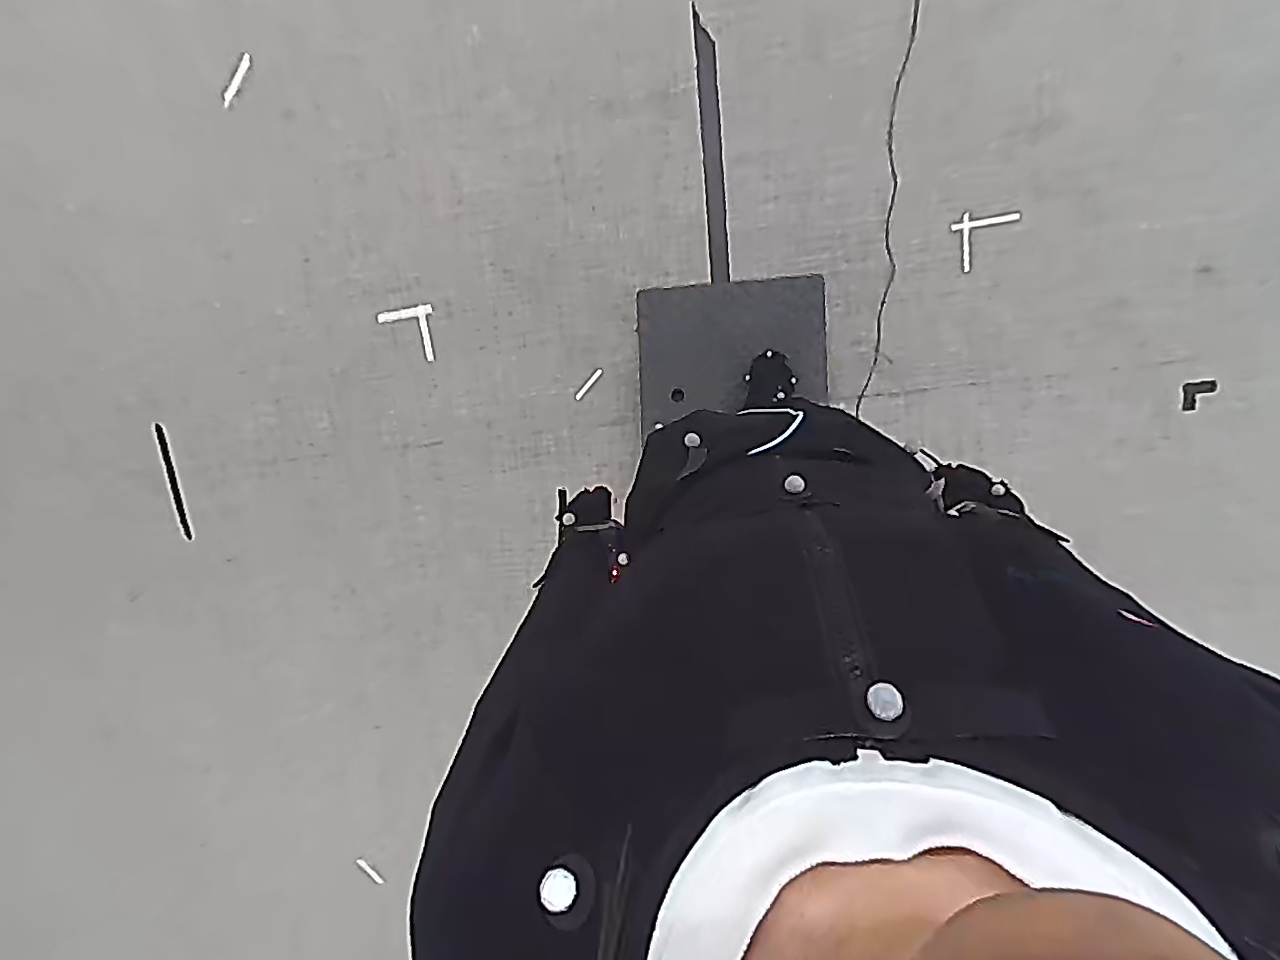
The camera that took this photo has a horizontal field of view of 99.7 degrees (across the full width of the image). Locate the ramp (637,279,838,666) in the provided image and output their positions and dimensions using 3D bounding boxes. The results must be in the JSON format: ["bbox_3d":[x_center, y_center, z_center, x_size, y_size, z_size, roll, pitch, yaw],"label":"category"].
[{"bbox_3d":[0.247,-0.013,1.430,0.509,0.206,0.991,-4,99,10],"label":"ramp"}]
